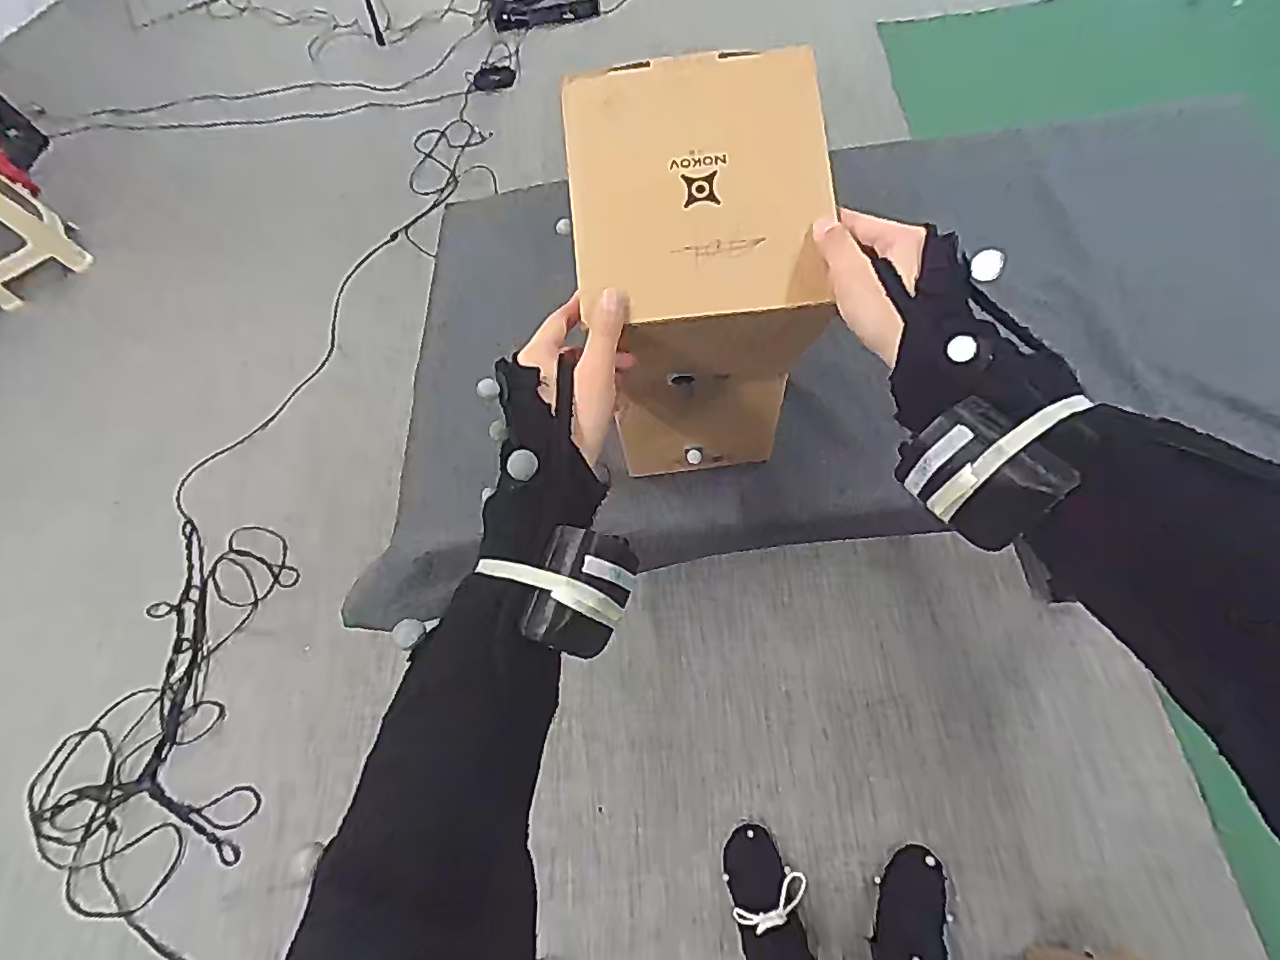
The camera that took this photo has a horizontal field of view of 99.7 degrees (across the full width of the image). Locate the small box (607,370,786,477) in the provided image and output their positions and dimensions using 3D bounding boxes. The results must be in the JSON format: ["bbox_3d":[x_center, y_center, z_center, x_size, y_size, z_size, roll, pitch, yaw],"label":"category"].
[{"bbox_3d":[0.053,-0.123,0.598,0.168,0.176,0.179,-7,64,4],"label":"small box"}]

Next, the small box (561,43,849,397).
[{"bbox_3d":[0.039,-0.176,0.415,0.168,0.176,0.179,-7,84,2],"label":"small box"}]

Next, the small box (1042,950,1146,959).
[{"bbox_3d":[0.767,0.867,0.844,0.179,0.176,0.168,-5,64,6],"label":"small box"}]
